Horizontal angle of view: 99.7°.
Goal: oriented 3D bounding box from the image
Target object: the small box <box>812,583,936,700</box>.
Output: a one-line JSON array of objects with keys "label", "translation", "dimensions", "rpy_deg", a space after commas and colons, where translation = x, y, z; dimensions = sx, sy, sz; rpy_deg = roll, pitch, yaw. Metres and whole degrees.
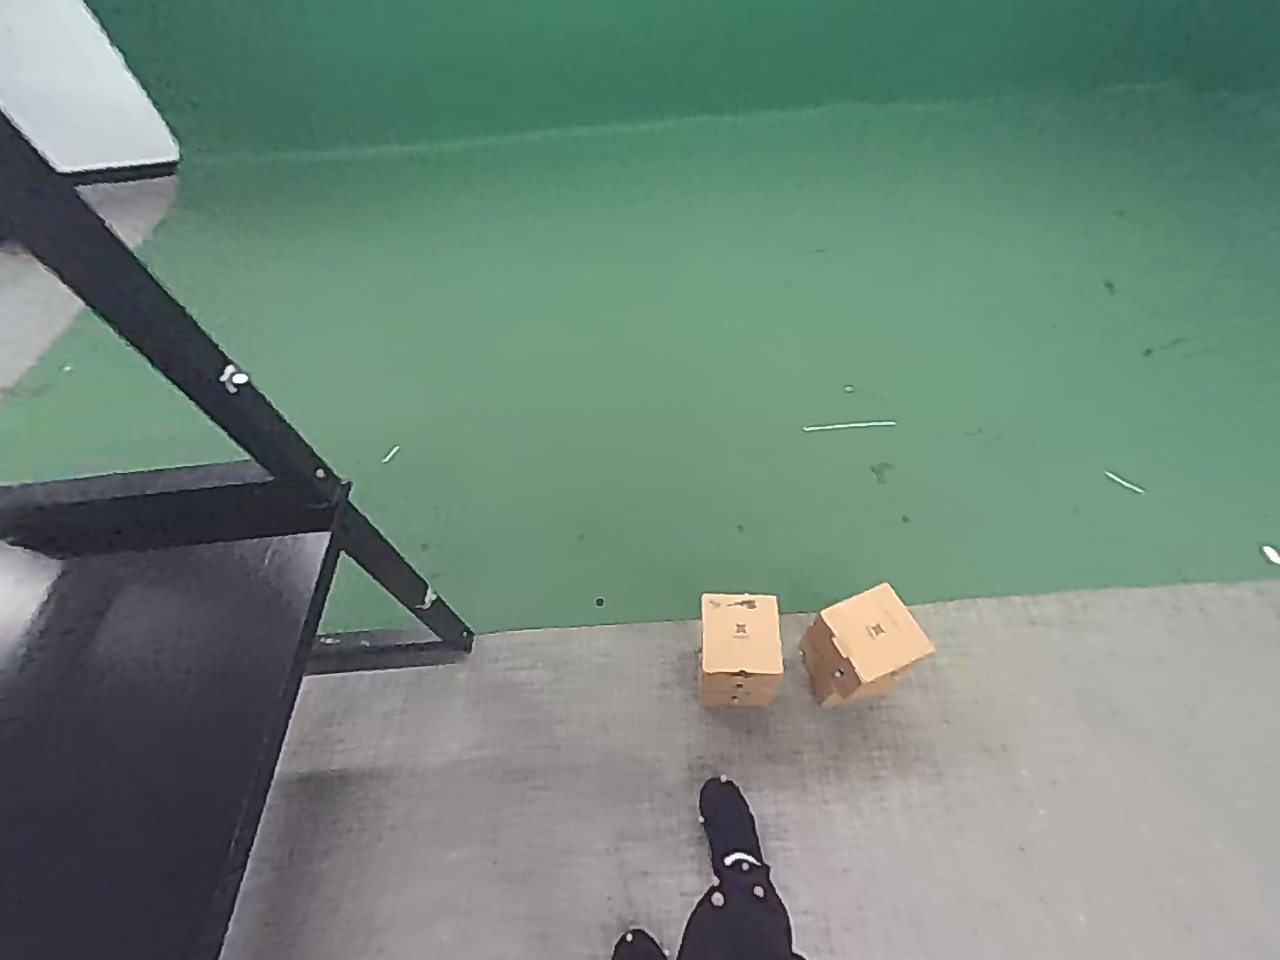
[{"label": "small box", "translation": [0.498, 0.359, 1.187], "dimensions": [0.179, 0.176, 0.168], "rpy_deg": [-21, 58, -10]}]

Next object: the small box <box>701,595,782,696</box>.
[{"label": "small box", "translation": [0.220, 0.371, 1.200], "dimensions": [0.168, 0.176, 0.179], "rpy_deg": [0, 55, 6]}]

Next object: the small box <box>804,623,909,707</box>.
[{"label": "small box", "translation": [0.516, 0.442, 1.325], "dimensions": [0.179, 0.176, 0.168], "rpy_deg": [-10, 55, -3]}]
